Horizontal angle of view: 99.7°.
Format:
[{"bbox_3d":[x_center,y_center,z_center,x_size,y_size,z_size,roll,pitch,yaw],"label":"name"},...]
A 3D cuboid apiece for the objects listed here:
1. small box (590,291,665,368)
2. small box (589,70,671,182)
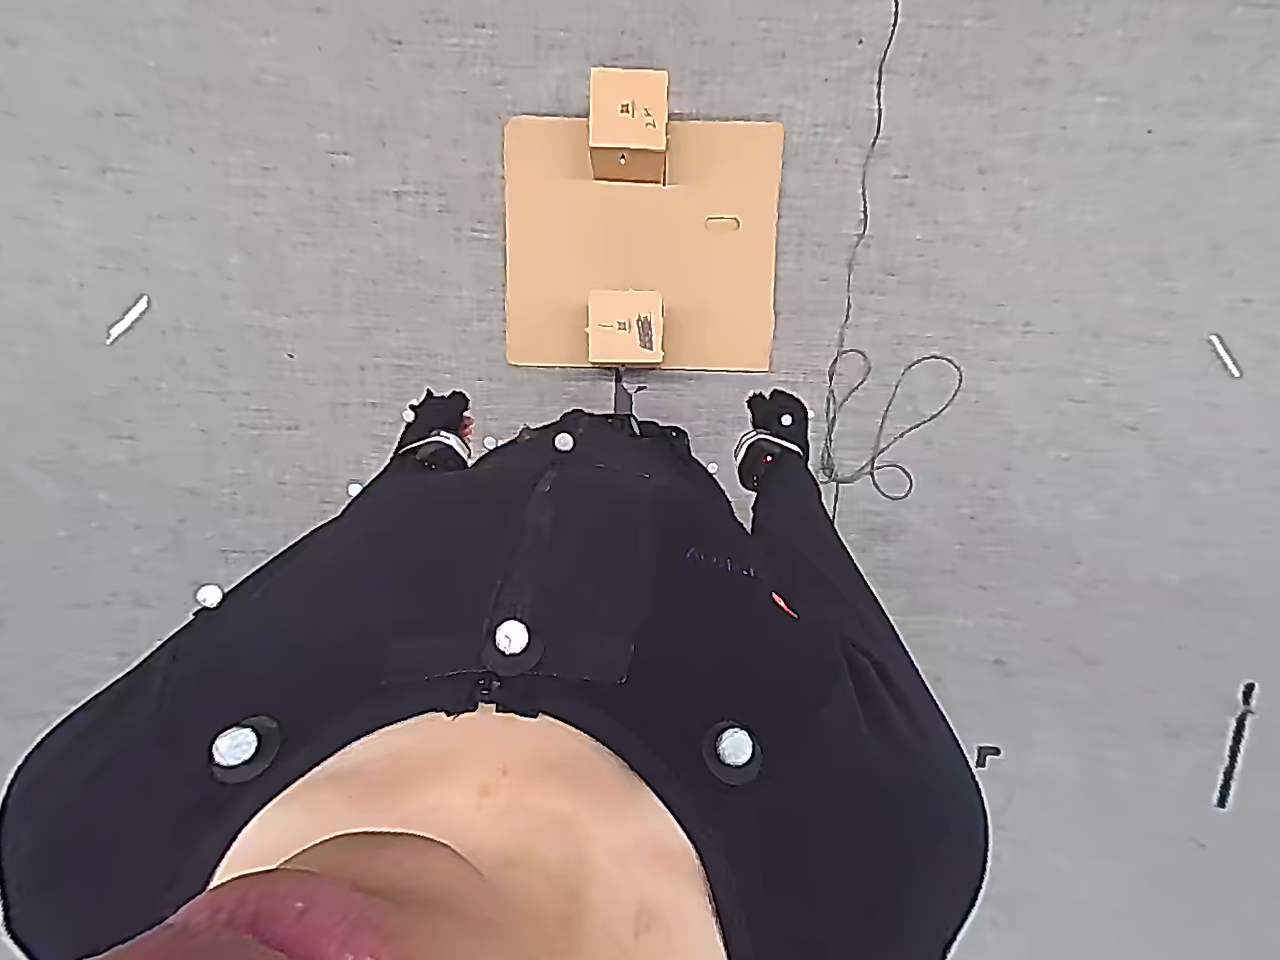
[{"bbox_3d":[-0.033,-0.368,1.341,0.179,0.176,0.168,0,98,-1],"label":"small box"},{"bbox_3d":[-0.025,-0.826,1.279,0.179,0.176,0.168,3,97,-2],"label":"small box"}]
